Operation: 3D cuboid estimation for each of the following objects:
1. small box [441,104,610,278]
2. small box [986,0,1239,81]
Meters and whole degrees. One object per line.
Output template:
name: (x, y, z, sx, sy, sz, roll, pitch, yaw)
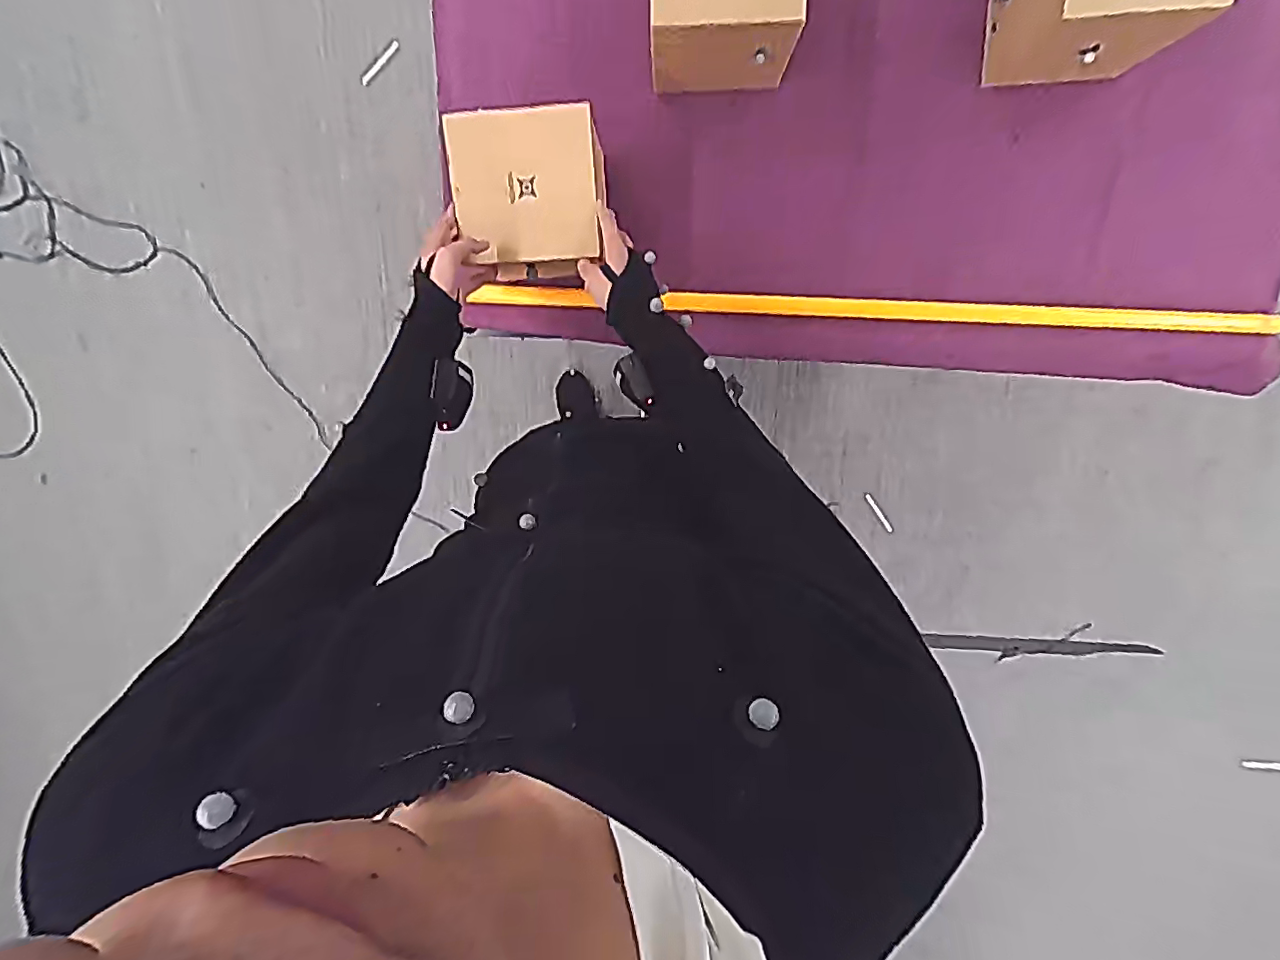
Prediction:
small box: (-0.134, -0.364, 0.710, 0.179, 0.176, 0.168, -2, 104, 4)
small box: (0.544, -0.596, 0.626, 0.179, 0.176, 0.168, -1, 104, 5)
